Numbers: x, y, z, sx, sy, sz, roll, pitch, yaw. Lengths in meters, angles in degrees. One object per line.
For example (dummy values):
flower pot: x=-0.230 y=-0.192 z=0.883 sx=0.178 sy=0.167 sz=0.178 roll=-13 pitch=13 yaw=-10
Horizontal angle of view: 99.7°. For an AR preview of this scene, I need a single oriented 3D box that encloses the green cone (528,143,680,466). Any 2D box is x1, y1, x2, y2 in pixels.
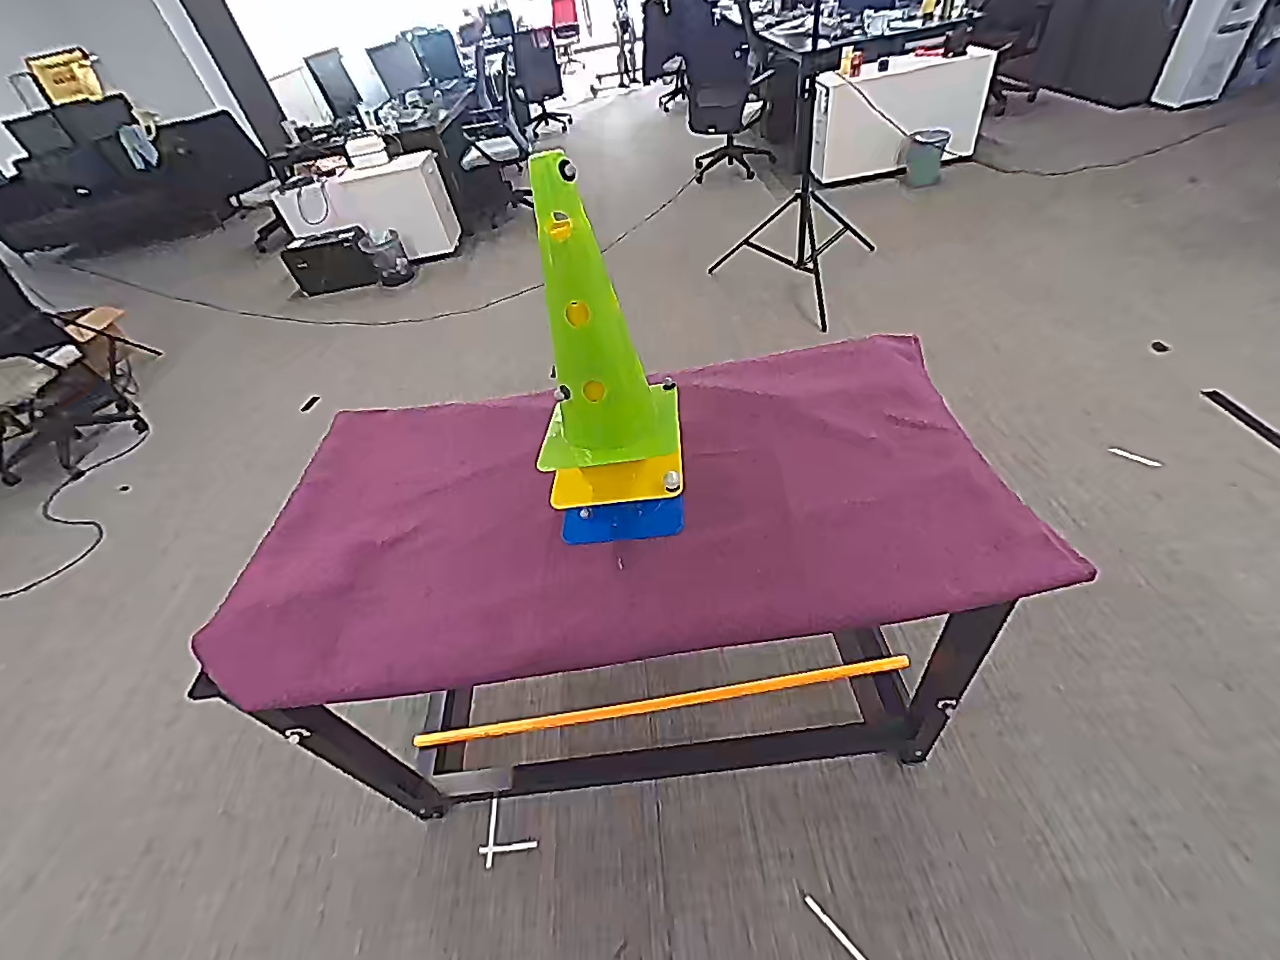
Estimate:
green cone: x=-0.074 y=-0.223 z=0.699 sx=0.200 sy=0.368 sz=0.202 roll=-8 pitch=37 yaw=8
